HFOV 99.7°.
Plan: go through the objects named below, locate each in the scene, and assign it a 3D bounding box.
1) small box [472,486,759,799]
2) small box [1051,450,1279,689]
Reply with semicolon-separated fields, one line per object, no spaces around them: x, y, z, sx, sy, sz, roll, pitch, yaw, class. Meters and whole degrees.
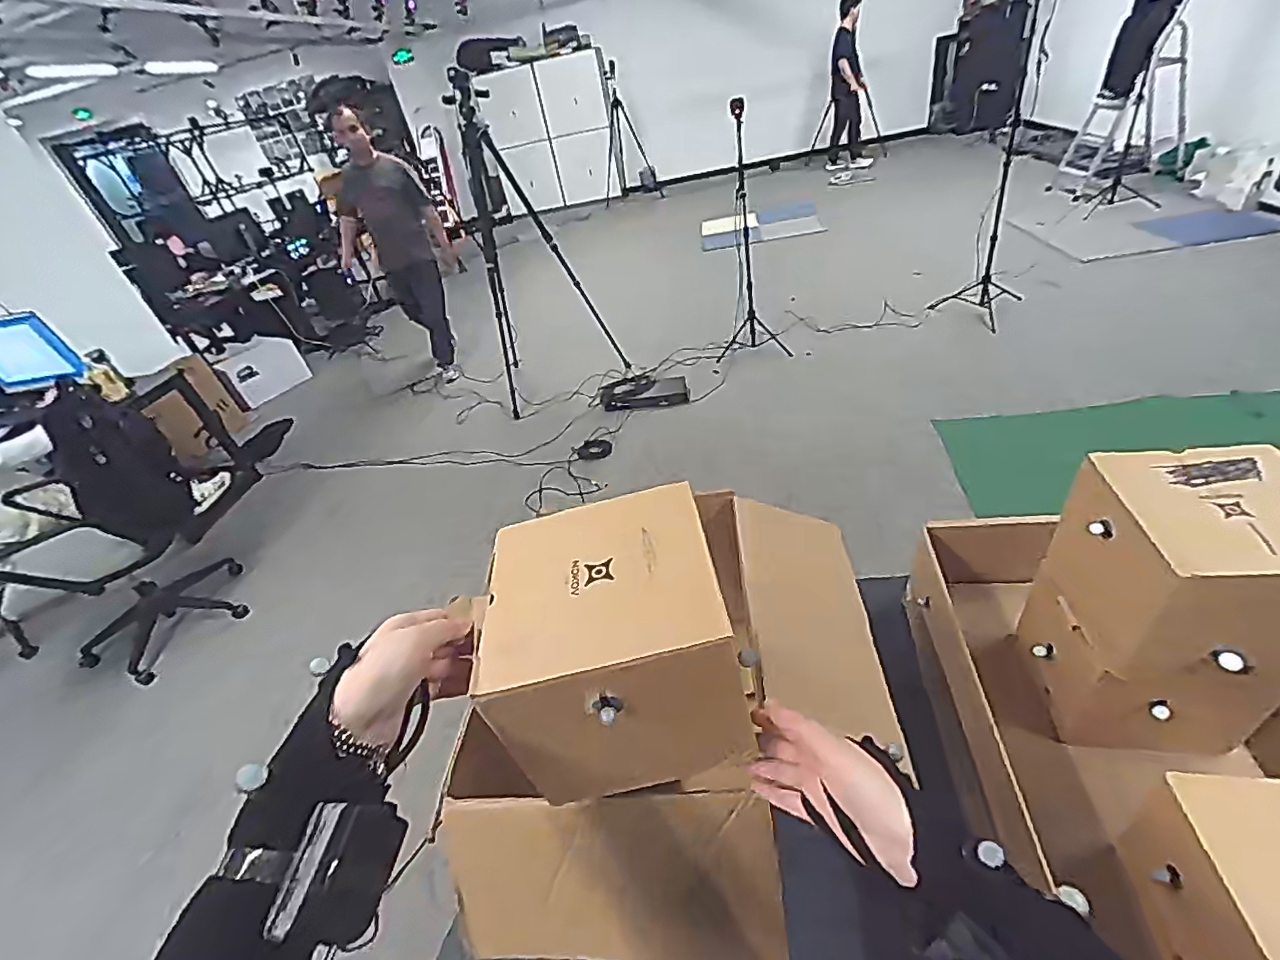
-0.013;0.135;0.450;0.179;0.176;0.168;-14;37;3;small box
0.570;0.090;0.562;0.168;0.176;0.179;-3;40;14;small box
